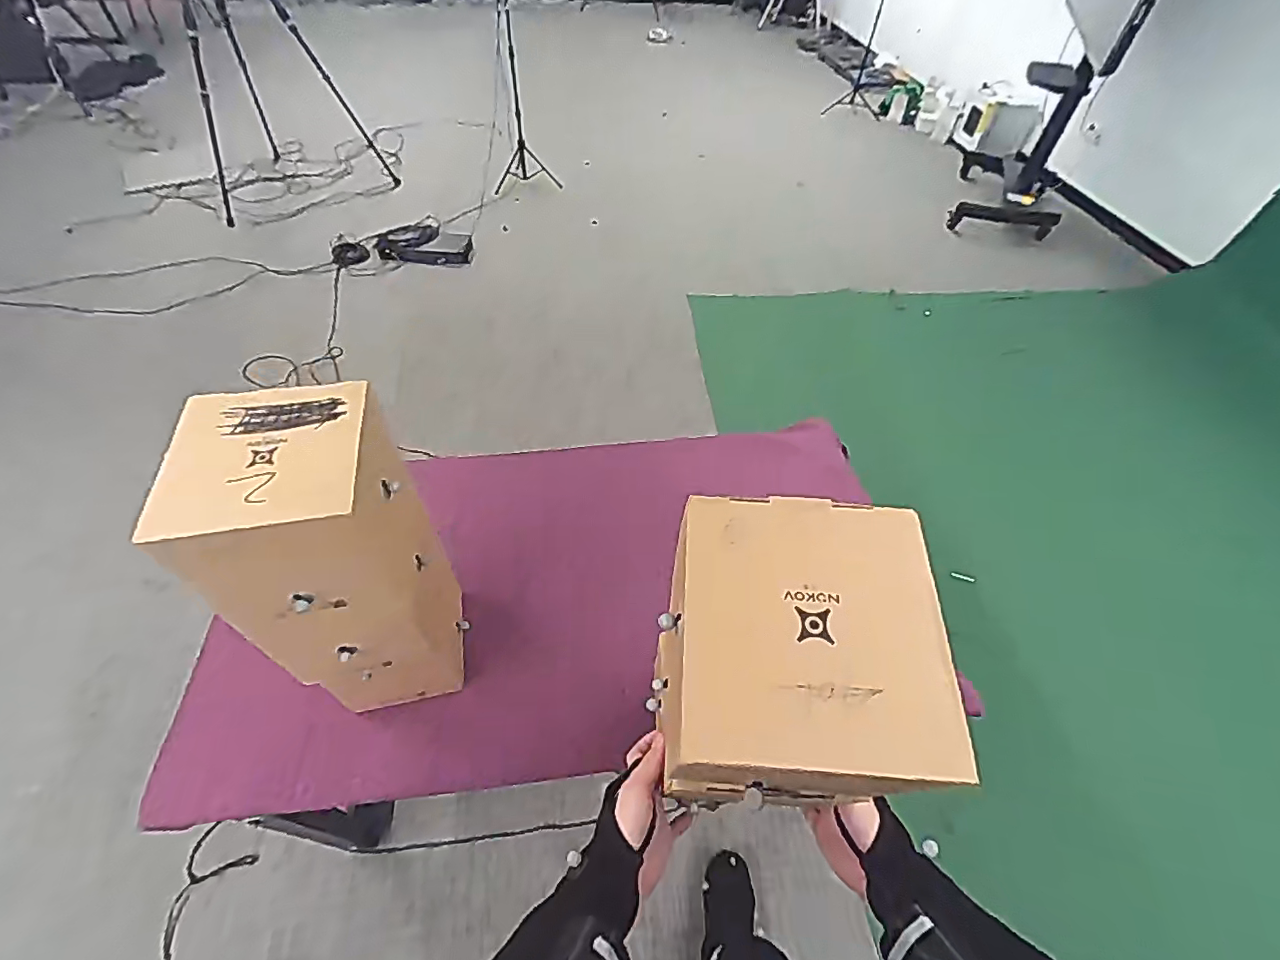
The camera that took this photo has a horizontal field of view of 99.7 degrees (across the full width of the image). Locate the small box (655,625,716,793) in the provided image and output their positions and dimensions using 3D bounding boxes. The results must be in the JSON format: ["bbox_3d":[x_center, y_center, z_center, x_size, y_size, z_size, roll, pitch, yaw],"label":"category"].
[{"bbox_3d":[0.105,0.295,0.683,0.168,0.176,0.179,1,58,0],"label":"small box"}]

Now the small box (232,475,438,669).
[{"bbox_3d":[-0.353,0.119,0.669,0.168,0.176,0.179,-7,52,-10],"label":"small box"}]

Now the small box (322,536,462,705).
[{"bbox_3d":[-0.367,0.210,0.807,0.168,0.176,0.179,-8,52,-10],"label":"small box"}]

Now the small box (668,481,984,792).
[{"bbox_3d":[0.110,0.123,0.404,0.168,0.176,0.179,5,58,2],"label":"small box"}]

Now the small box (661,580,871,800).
[{"bbox_3d":[0.109,0.213,0.540,0.168,0.176,0.179,4,57,1],"label":"small box"}]
